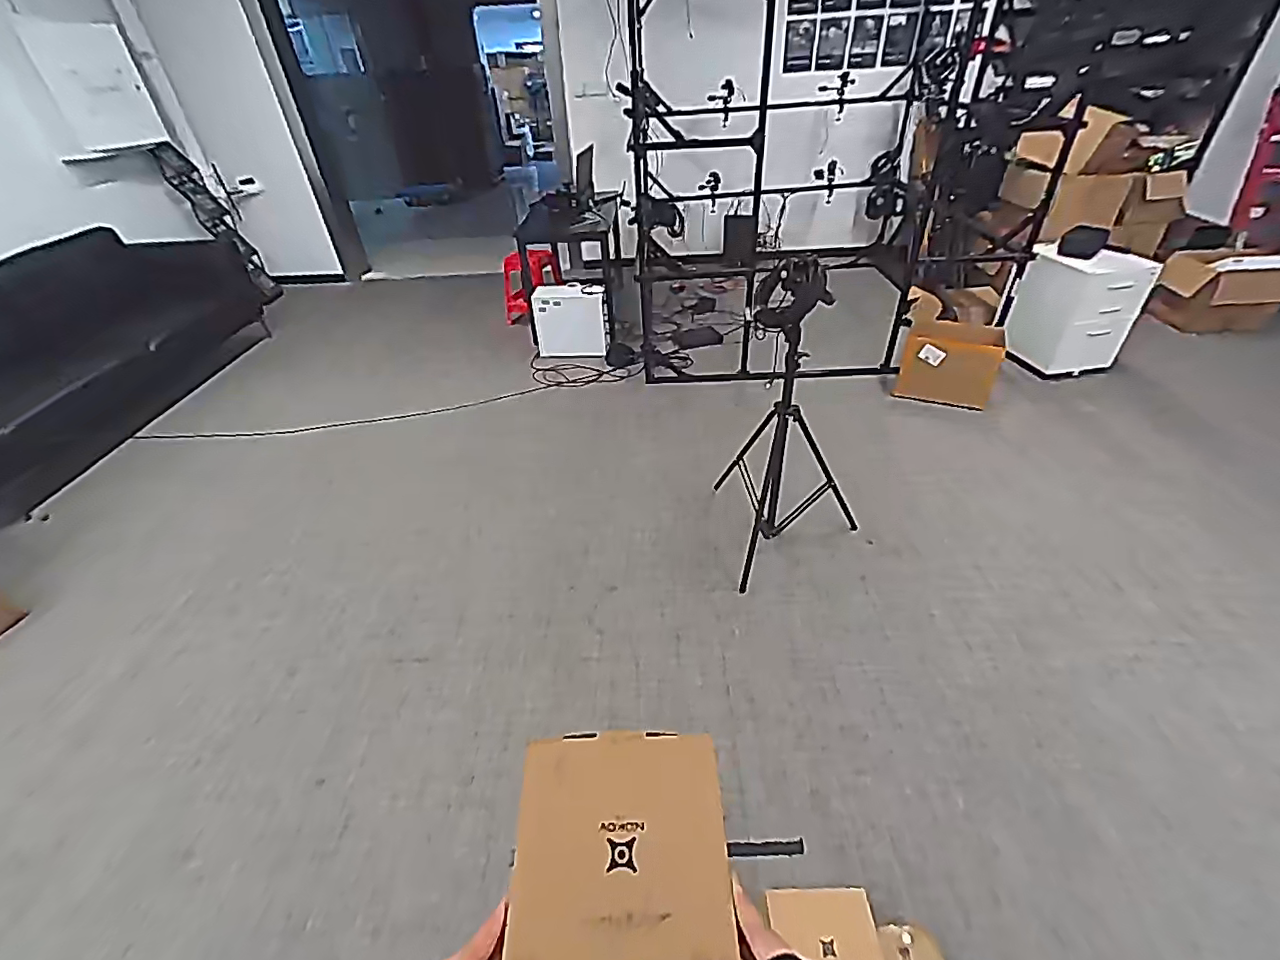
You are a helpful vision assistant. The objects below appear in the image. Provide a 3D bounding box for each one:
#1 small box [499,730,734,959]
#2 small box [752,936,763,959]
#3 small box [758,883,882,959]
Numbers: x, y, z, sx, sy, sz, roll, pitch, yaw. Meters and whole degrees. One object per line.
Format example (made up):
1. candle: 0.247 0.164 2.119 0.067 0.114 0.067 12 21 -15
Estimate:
1. small box: -0.018 0.344 0.477 0.168 0.176 0.179 0 44 -1
2. small box: 0.296 0.935 0.972 0.168 0.176 0.179 0 38 6
3. small box: 0.293 0.794 0.884 0.168 0.176 0.179 -2 37 2
